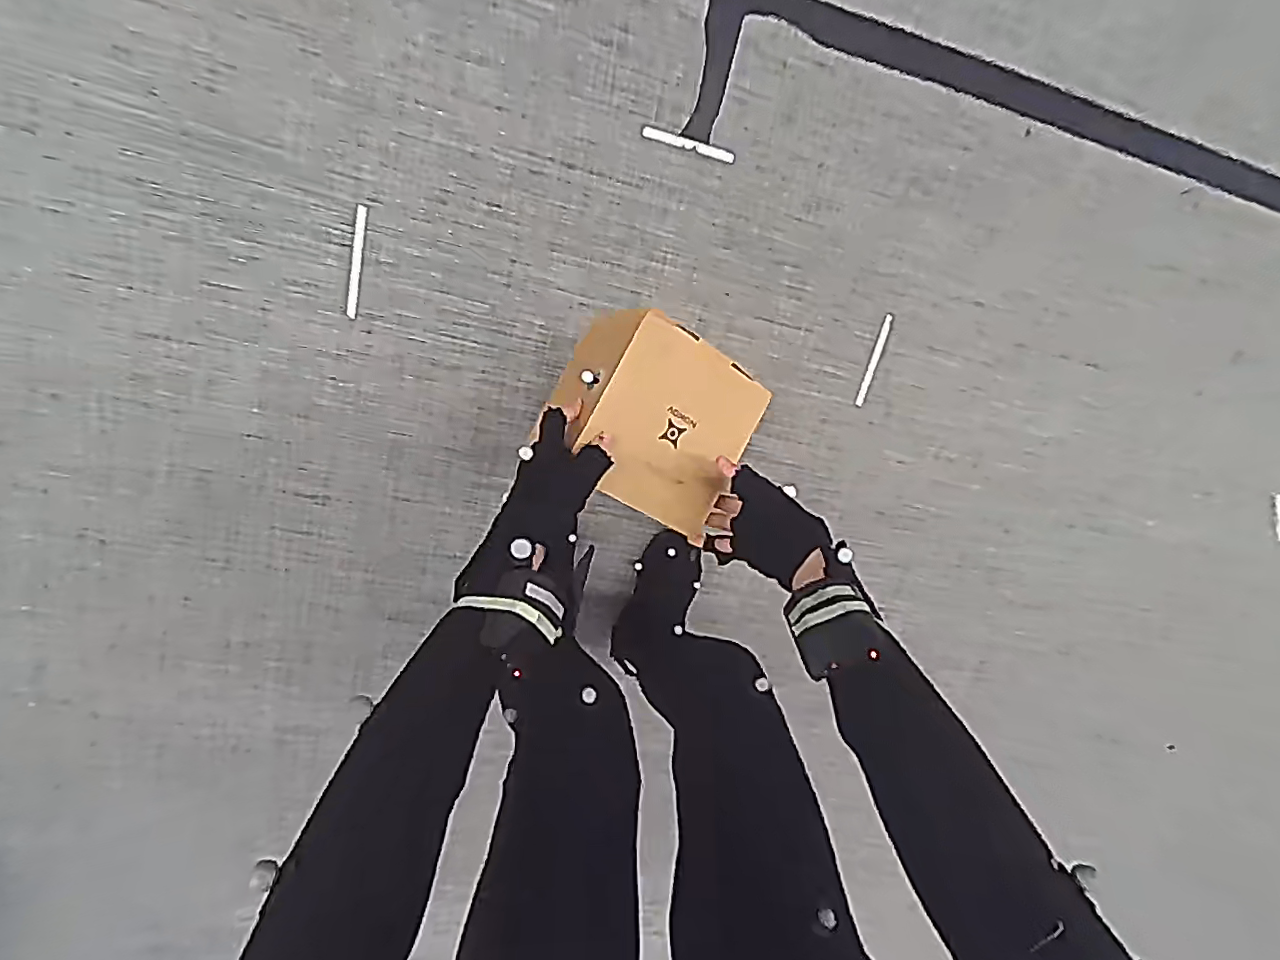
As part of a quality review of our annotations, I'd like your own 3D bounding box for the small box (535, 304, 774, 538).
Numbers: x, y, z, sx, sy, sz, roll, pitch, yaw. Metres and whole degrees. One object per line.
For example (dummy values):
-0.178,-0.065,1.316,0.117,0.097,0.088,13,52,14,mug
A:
0.004,-0.067,0.589,0.168,0.176,0.179,28,91,-26,small box
